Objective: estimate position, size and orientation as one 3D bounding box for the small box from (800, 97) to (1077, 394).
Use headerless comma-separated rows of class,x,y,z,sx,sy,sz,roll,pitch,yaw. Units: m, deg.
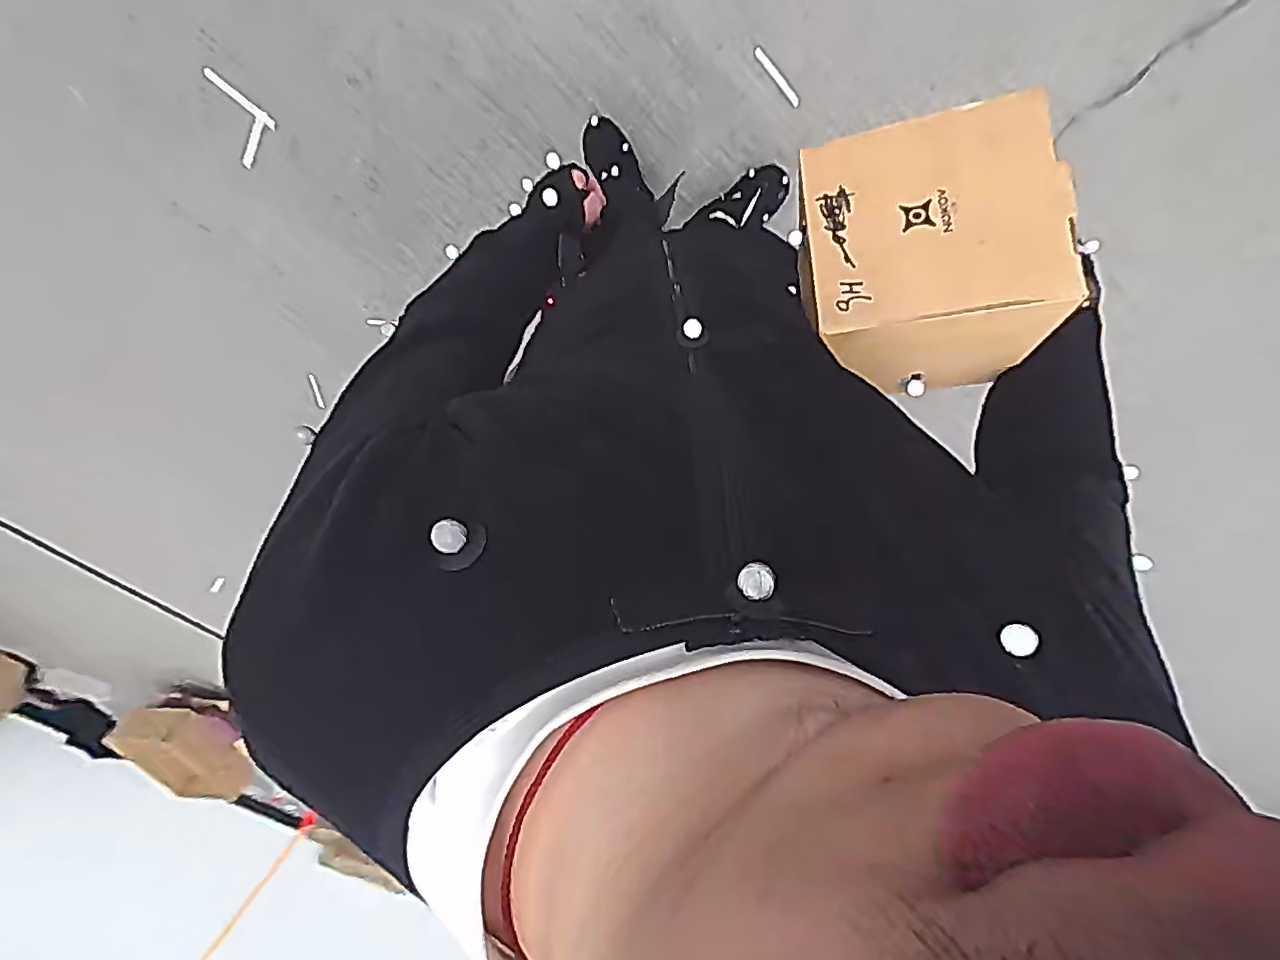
small box,0.243,-0.189,0.491,0.179,0.168,0.176,-6,168,16
